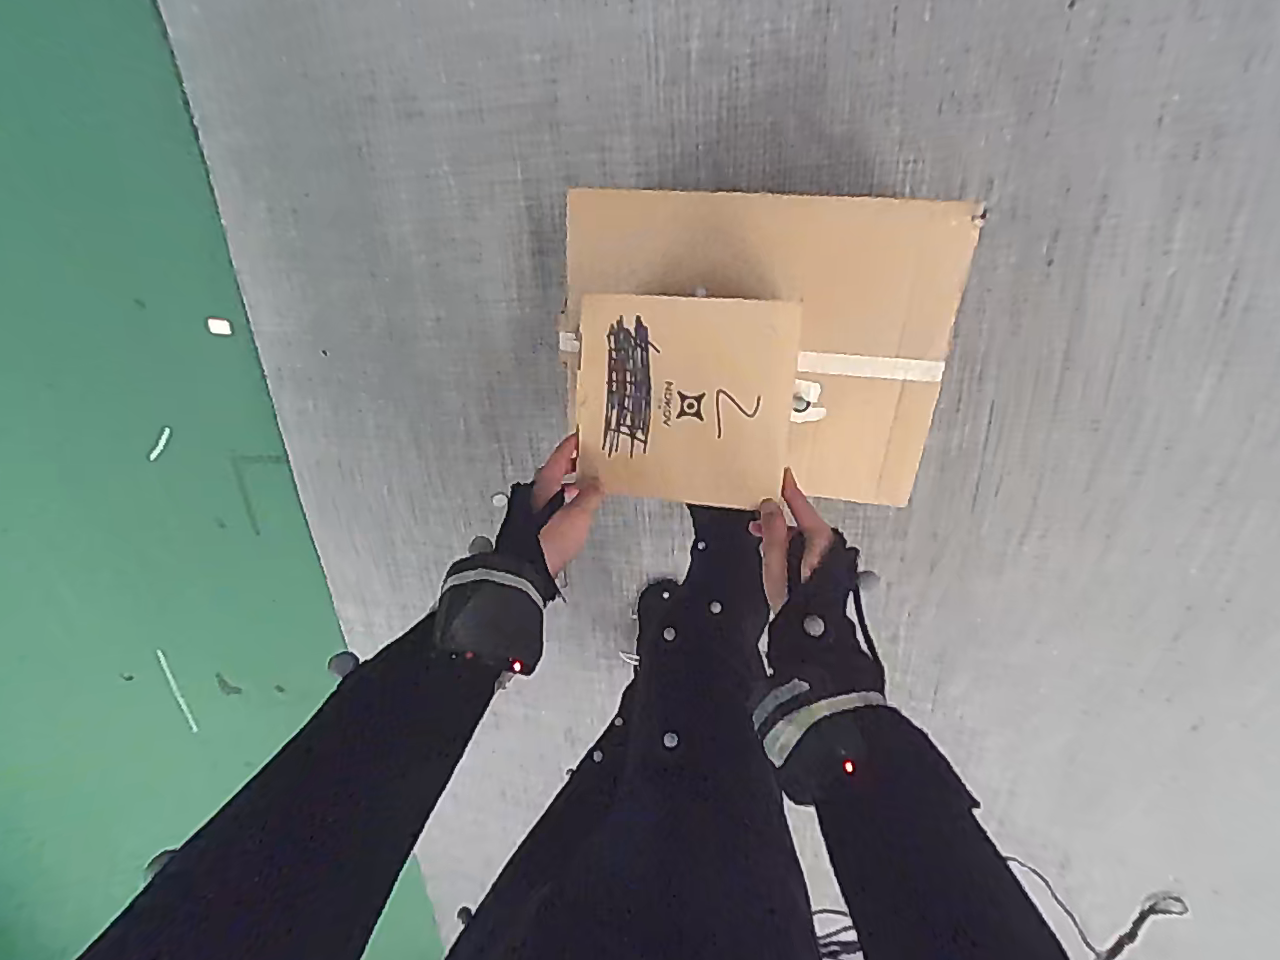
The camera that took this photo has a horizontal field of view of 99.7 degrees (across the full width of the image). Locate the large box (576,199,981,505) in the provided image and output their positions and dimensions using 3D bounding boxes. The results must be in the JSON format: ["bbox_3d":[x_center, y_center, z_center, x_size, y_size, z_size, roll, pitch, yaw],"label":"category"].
[{"bbox_3d":[0.147,-0.184,0.729,0.408,0.320,0.320,7,113,9],"label":"large box"}]
